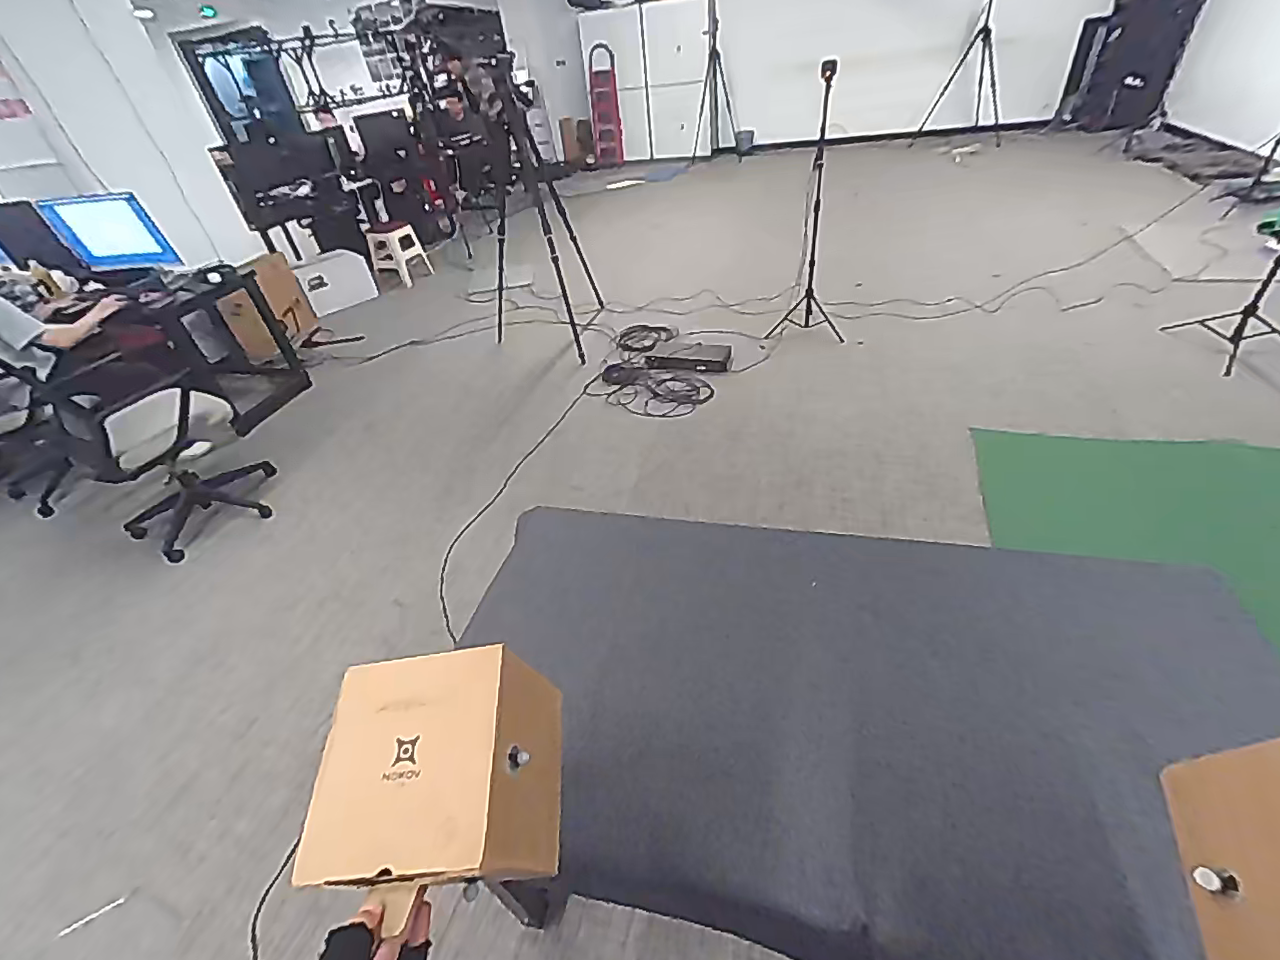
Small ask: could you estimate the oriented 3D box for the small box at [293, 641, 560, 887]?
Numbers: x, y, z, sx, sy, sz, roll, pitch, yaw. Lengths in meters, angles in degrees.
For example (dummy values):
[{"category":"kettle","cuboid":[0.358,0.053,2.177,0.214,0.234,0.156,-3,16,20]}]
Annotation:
[{"category":"small box","cuboid":[-0.181,0.278,0.524,0.168,0.176,0.179,-10,52,7]}]
